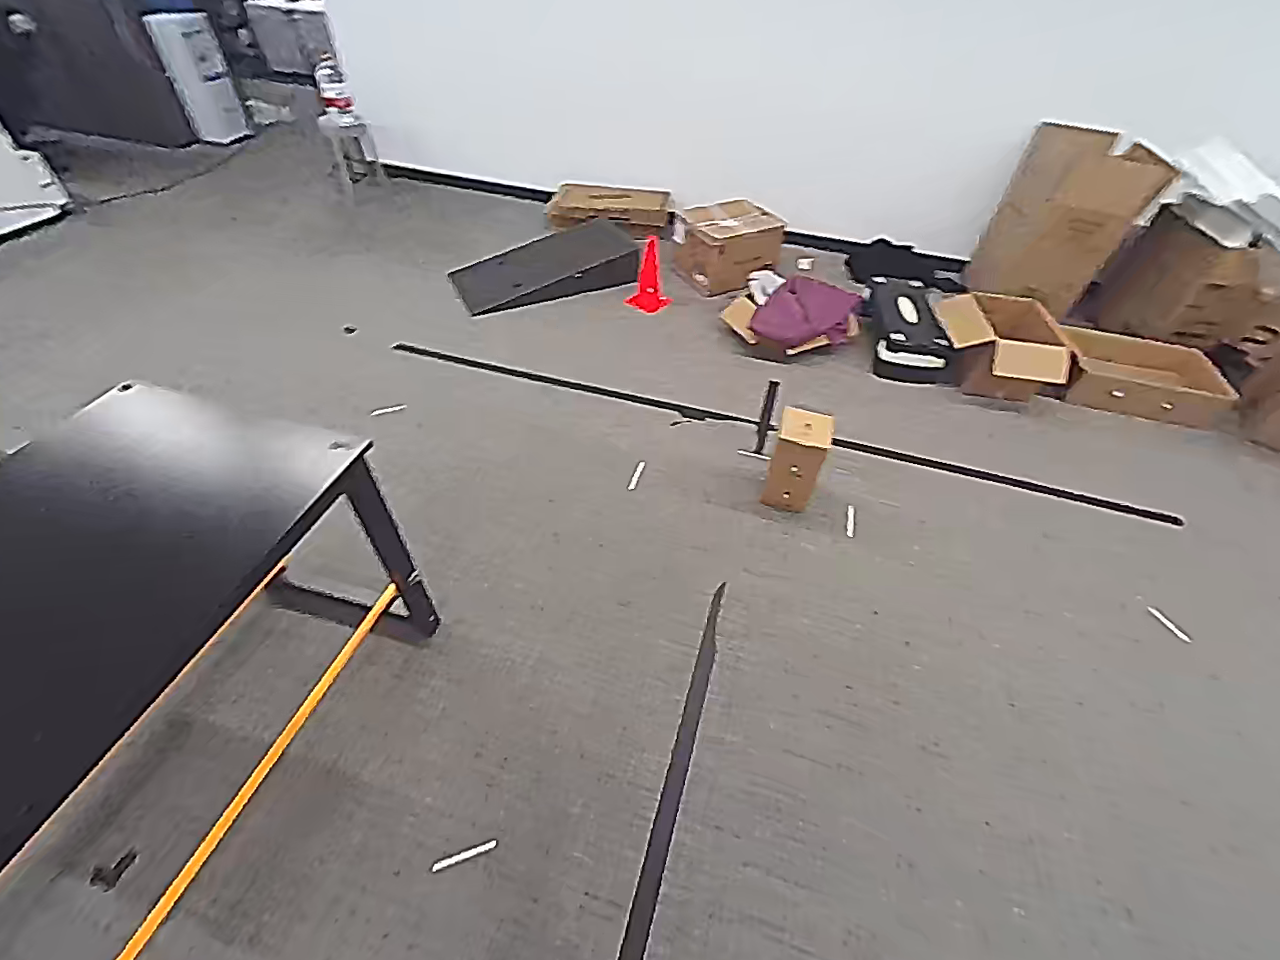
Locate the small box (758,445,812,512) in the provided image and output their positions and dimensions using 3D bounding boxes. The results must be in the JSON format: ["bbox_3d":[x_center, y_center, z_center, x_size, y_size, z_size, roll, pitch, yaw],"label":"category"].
[{"bbox_3d":[0.539,-0.006,1.993,0.168,0.176,0.179,14,48,9],"label":"small box"}]

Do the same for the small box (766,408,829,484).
[{"bbox_3d":[0.541,-0.116,1.868,0.168,0.176,0.179,15,48,10],"label":"small box"}]
